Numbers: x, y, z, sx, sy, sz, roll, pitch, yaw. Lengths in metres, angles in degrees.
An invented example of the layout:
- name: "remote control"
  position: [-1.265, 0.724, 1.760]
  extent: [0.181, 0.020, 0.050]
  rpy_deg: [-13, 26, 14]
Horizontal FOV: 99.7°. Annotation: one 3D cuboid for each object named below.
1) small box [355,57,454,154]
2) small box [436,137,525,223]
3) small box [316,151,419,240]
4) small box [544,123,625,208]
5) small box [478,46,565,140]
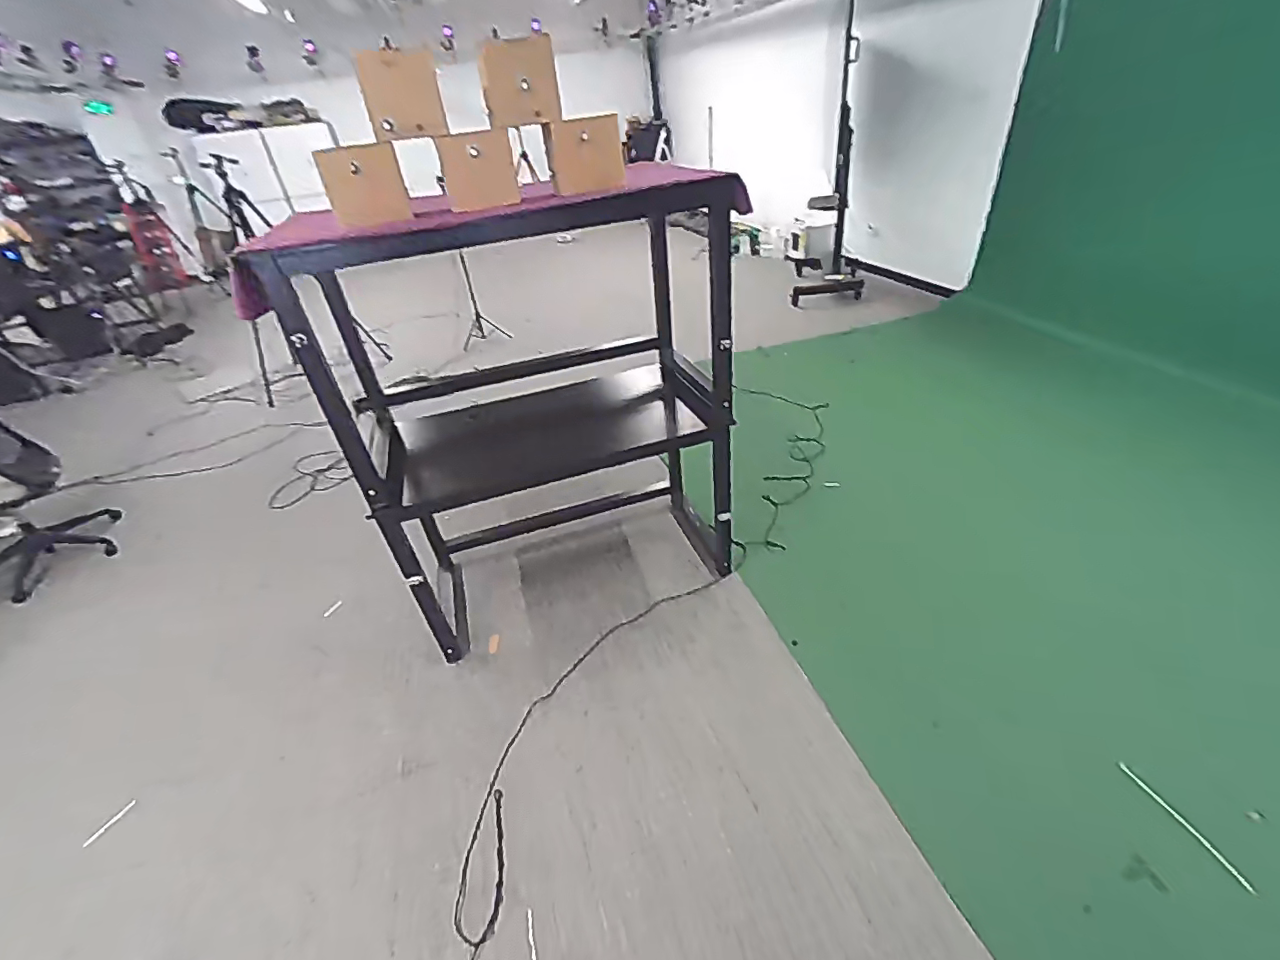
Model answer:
- name: "small box"
  position: [-0.546, -0.879, 1.279]
  extent: [0.168, 0.176, 0.179]
  rpy_deg: [-14, 34, -10]
- name: "small box"
  position: [-0.407, -0.768, 1.383]
  extent: [0.179, 0.176, 0.168]
  rpy_deg: [-15, 35, -11]
- name: "small box"
  position: [-0.663, -0.705, 1.337]
  extent: [0.179, 0.176, 0.168]
  rpy_deg: [-16, 36, -13]
- name: "small box"
  position: [-0.144, -0.841, 1.441]
  extent: [0.179, 0.176, 0.168]
  rpy_deg: [-16, 35, -10]
- name: "small box"
  position: [-0.291, -0.946, 1.332]
  extent: [0.168, 0.176, 0.179]
  rpy_deg: [-15, 35, -12]
